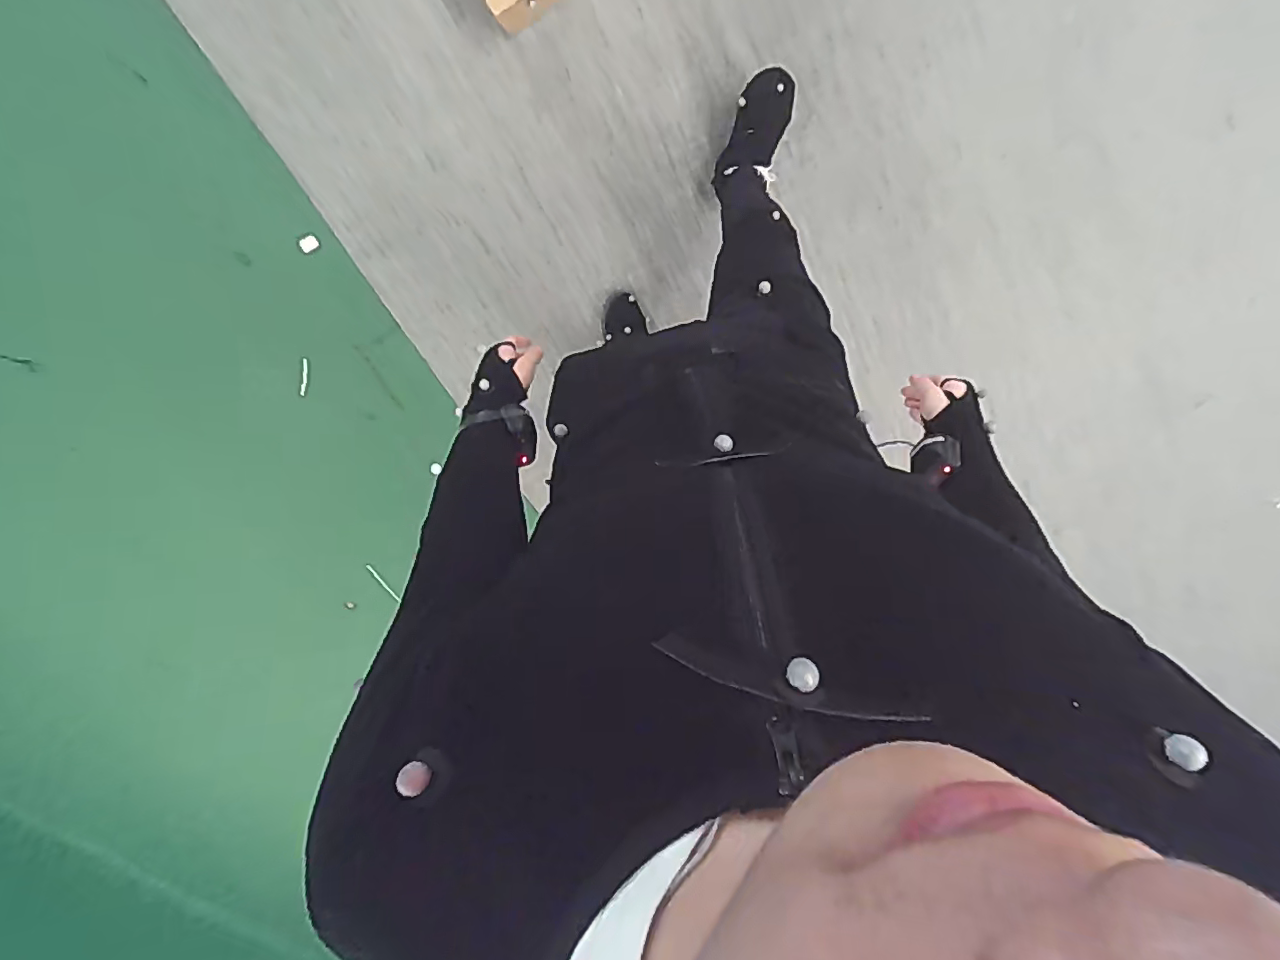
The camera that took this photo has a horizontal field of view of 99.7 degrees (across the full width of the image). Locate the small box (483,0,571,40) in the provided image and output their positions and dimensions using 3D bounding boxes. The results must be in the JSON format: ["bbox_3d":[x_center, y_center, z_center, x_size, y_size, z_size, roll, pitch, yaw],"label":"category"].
[{"bbox_3d":[-0.242,-1.016,1.061,0.179,0.176,0.168,-26,116,12],"label":"small box"}]
